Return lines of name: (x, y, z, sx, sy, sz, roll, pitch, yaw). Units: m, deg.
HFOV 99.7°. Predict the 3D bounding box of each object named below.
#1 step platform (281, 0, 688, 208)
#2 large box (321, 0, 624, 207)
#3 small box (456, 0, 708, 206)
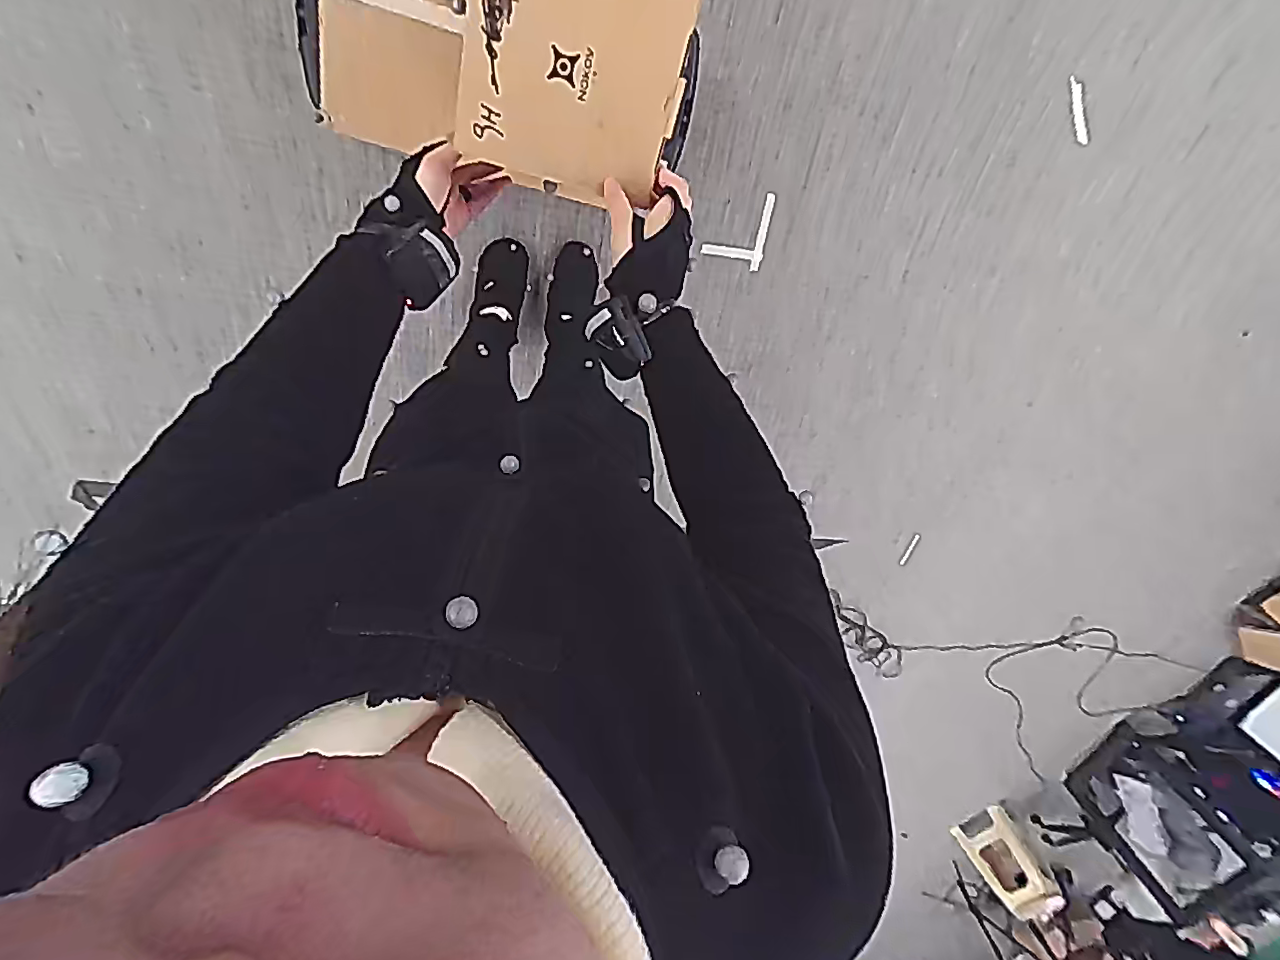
step platform: (-0.256, -0.751, 0.998, 0.684, 0.204, 0.286, 11, 120, -15)
large box: (-0.199, -0.632, 0.798, 0.408, 0.320, 0.320, 9, 119, -14)
small box: (-0.062, -0.373, 0.498, 0.179, 0.176, 0.168, 9, 119, -16)
